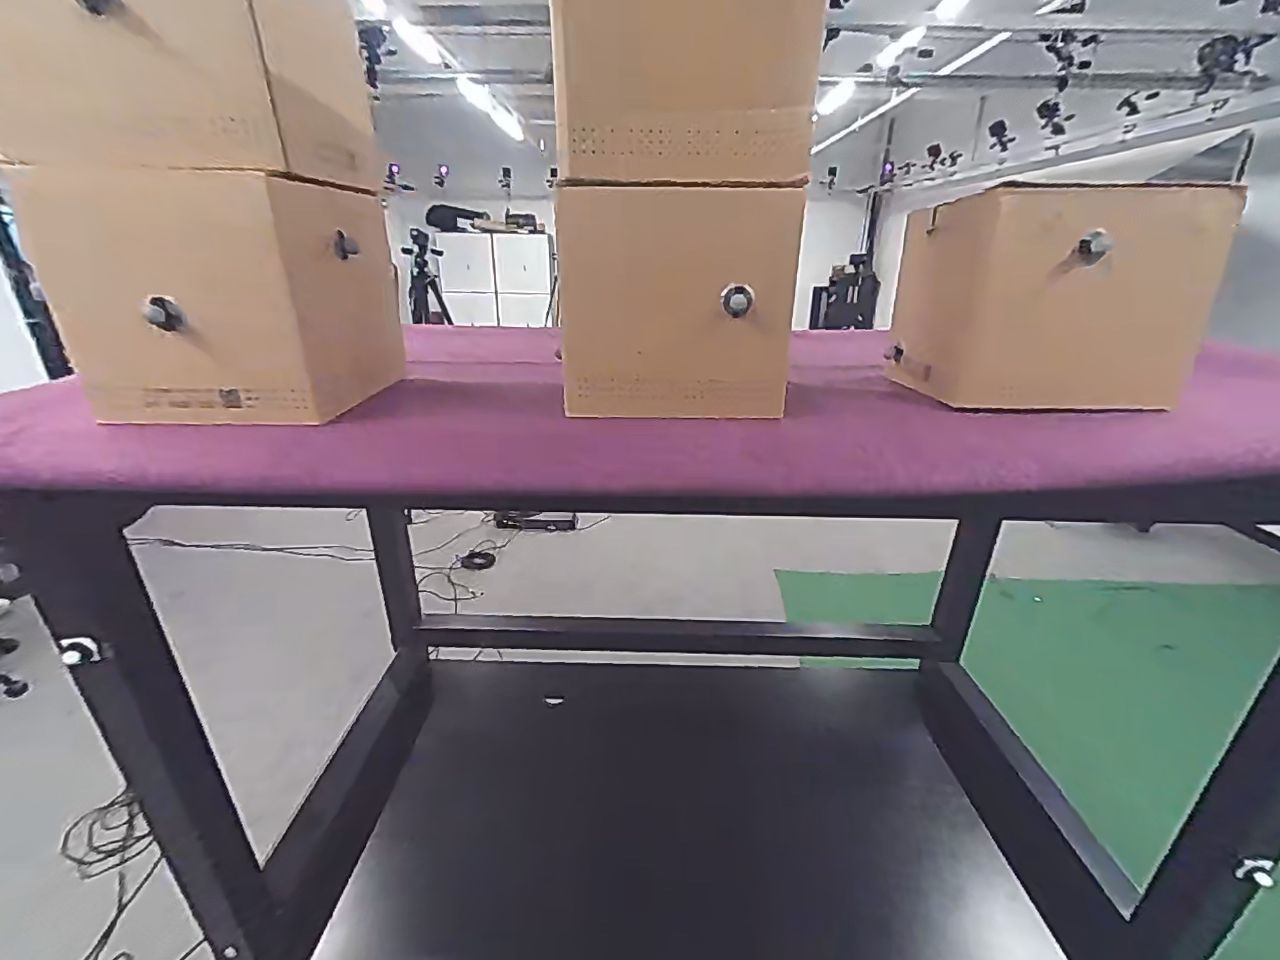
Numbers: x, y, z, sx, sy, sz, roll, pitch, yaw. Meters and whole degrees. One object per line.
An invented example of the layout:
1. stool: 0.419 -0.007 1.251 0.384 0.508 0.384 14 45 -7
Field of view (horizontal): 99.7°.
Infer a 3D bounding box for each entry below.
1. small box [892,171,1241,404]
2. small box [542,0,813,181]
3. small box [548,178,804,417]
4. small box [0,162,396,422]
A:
1. small box: 0.346 -0.166 0.487 0.179 0.176 0.168 1 21 2
2. small box: 0.022 -0.307 0.406 0.179 0.176 0.168 -1 23 -2
3. small box: 0.024 -0.156 0.467 0.179 0.176 0.168 -1 23 -1
4. small box: -0.318 -0.150 0.438 0.168 0.176 0.179 1 24 -2
